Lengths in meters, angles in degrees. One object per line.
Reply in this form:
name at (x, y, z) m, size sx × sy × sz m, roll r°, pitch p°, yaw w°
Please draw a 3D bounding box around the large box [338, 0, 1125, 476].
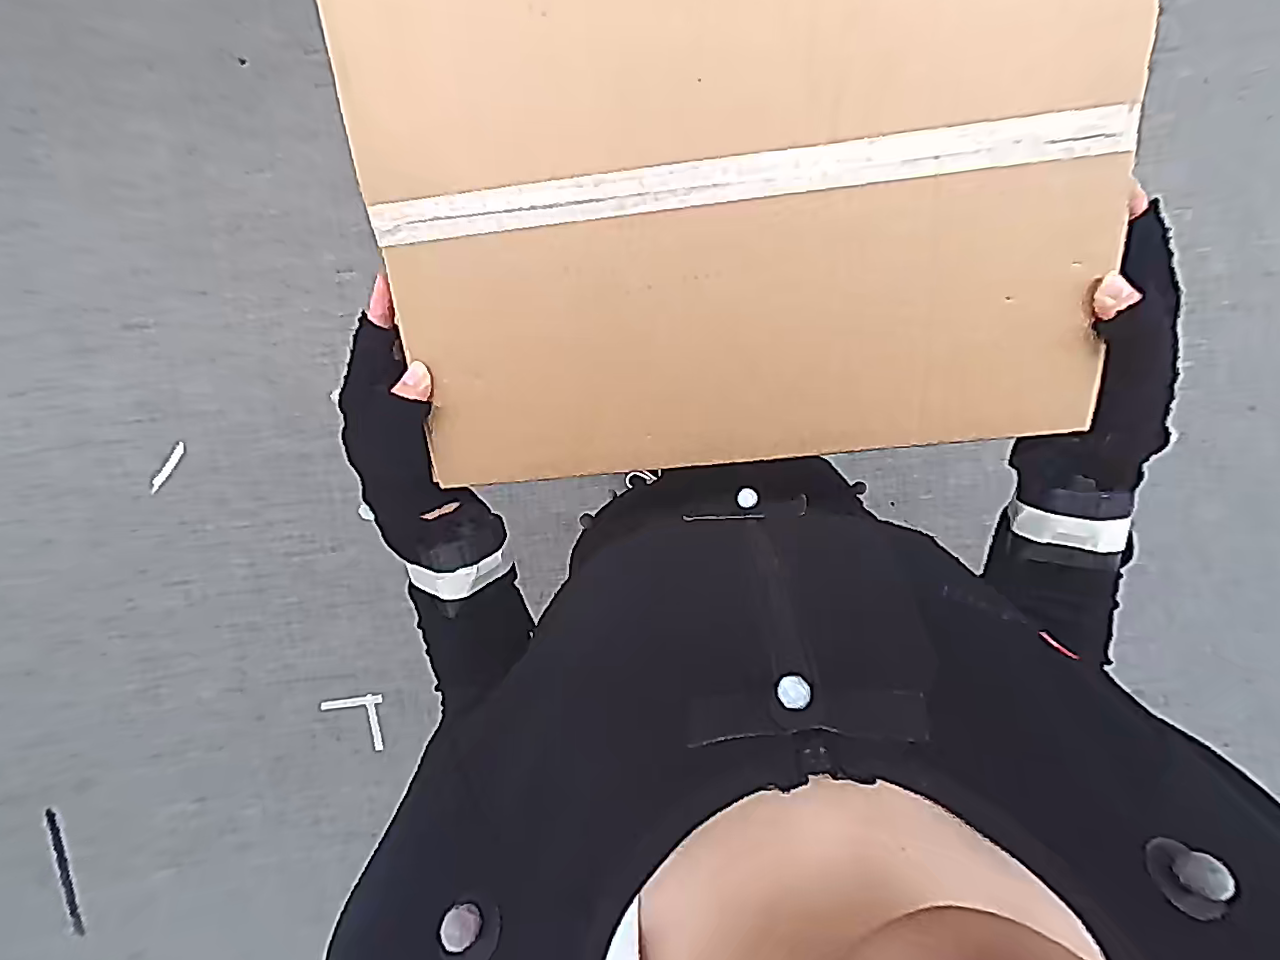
large box at (0.055, -0.213, 0.445) m, size 0.408 × 0.320 × 0.320 m, roll -5°, pitch 109°, yaw 4°
